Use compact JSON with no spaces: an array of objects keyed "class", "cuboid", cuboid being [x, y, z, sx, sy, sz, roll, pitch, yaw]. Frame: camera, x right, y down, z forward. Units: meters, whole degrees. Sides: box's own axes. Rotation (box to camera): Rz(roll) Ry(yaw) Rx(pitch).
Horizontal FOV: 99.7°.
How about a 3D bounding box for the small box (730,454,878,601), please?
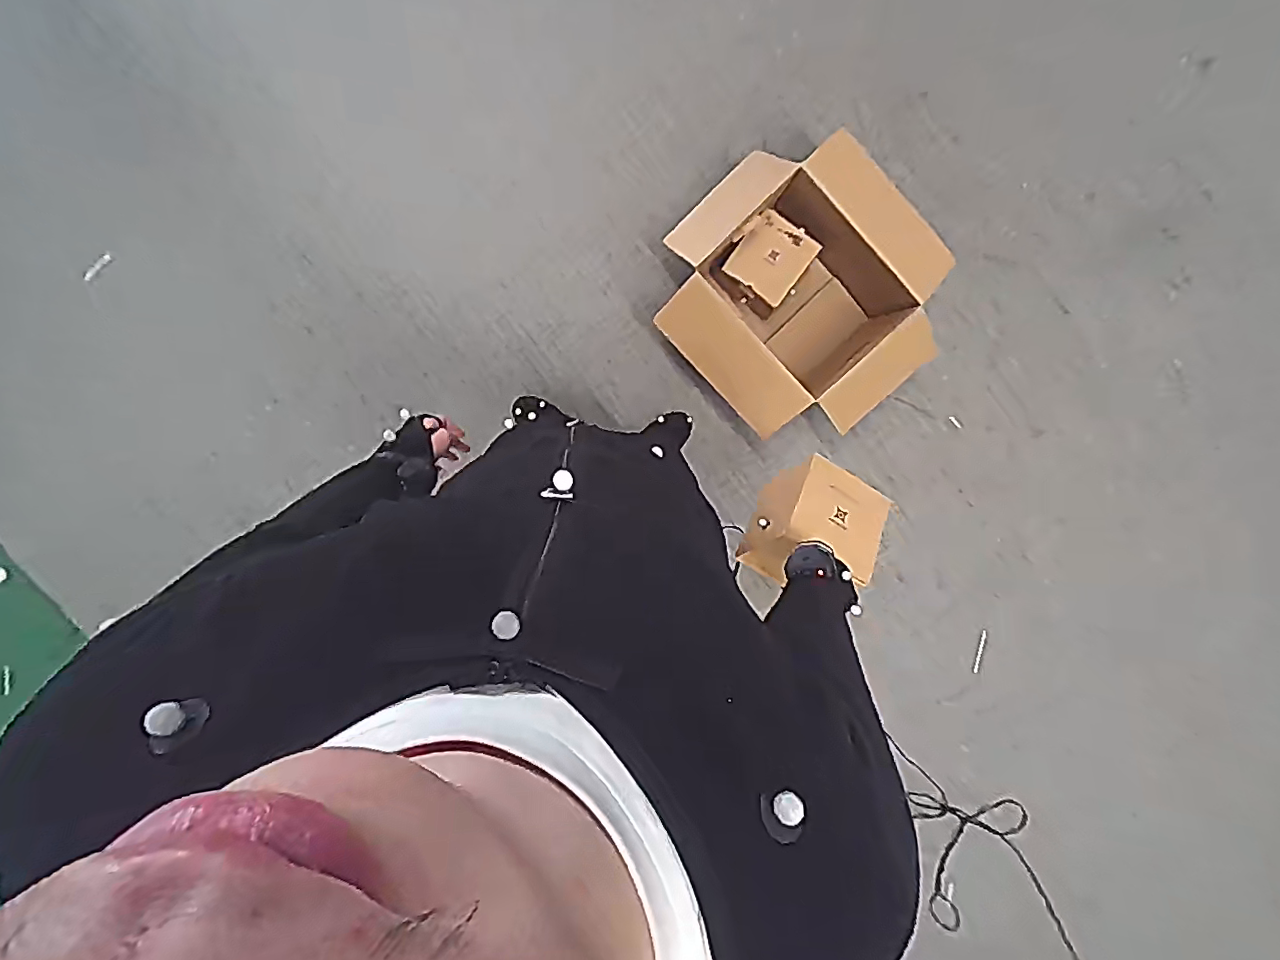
[{"class":"small box","cuboid":[0.281,0.092,0.951,0.168,0.176,0.179,32,60,-8]}]
